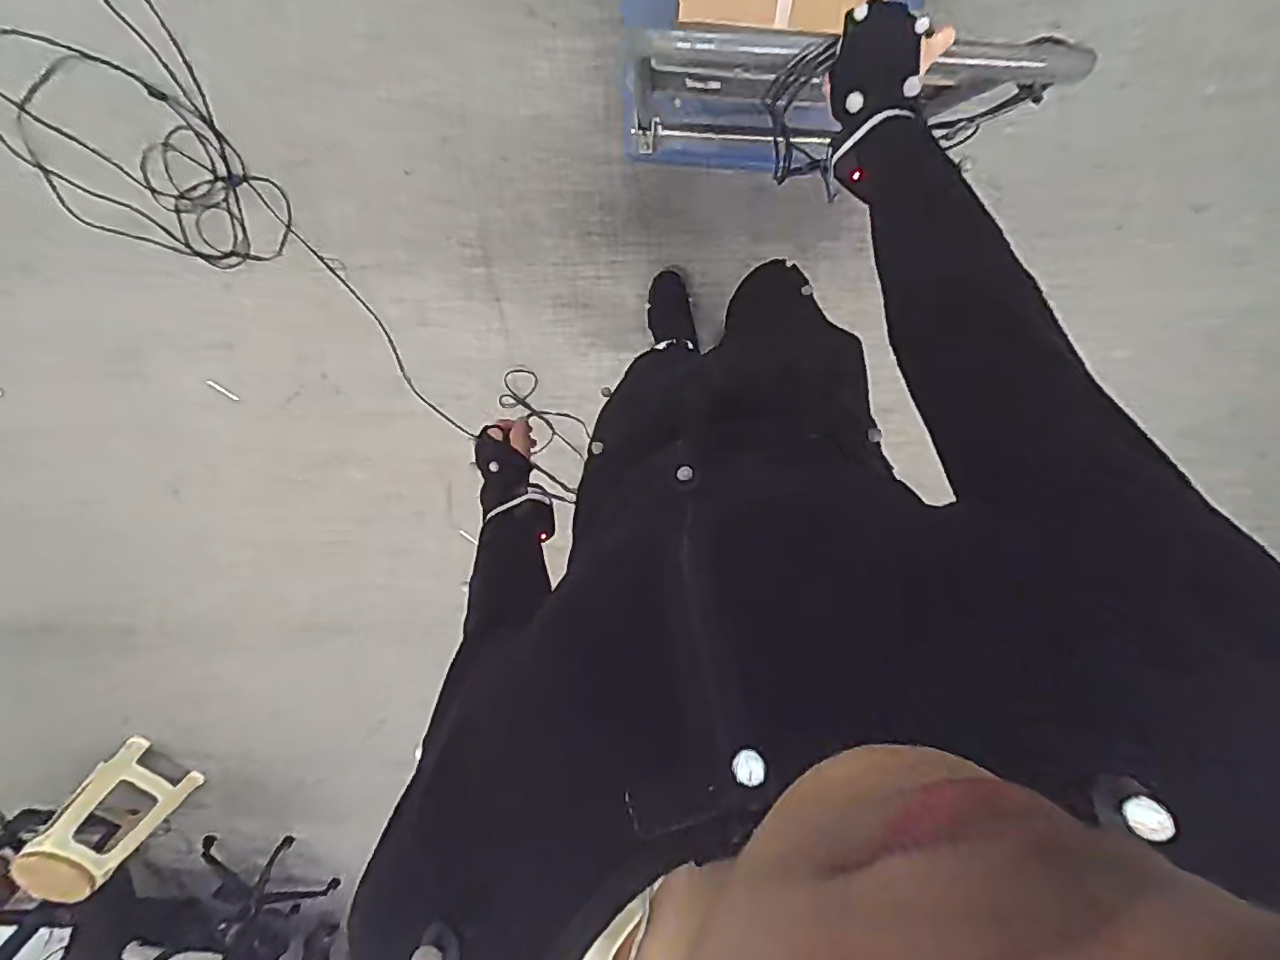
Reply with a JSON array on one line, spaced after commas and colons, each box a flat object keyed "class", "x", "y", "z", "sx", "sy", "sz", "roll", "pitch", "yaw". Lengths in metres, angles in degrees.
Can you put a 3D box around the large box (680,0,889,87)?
[{"class": "large box", "x": 0.239, "y": -0.925, "z": 0.879, "sx": 0.320, "sy": 0.320, "sz": 0.408, "roll": 6, "pitch": 114, "yaw": 0}]
